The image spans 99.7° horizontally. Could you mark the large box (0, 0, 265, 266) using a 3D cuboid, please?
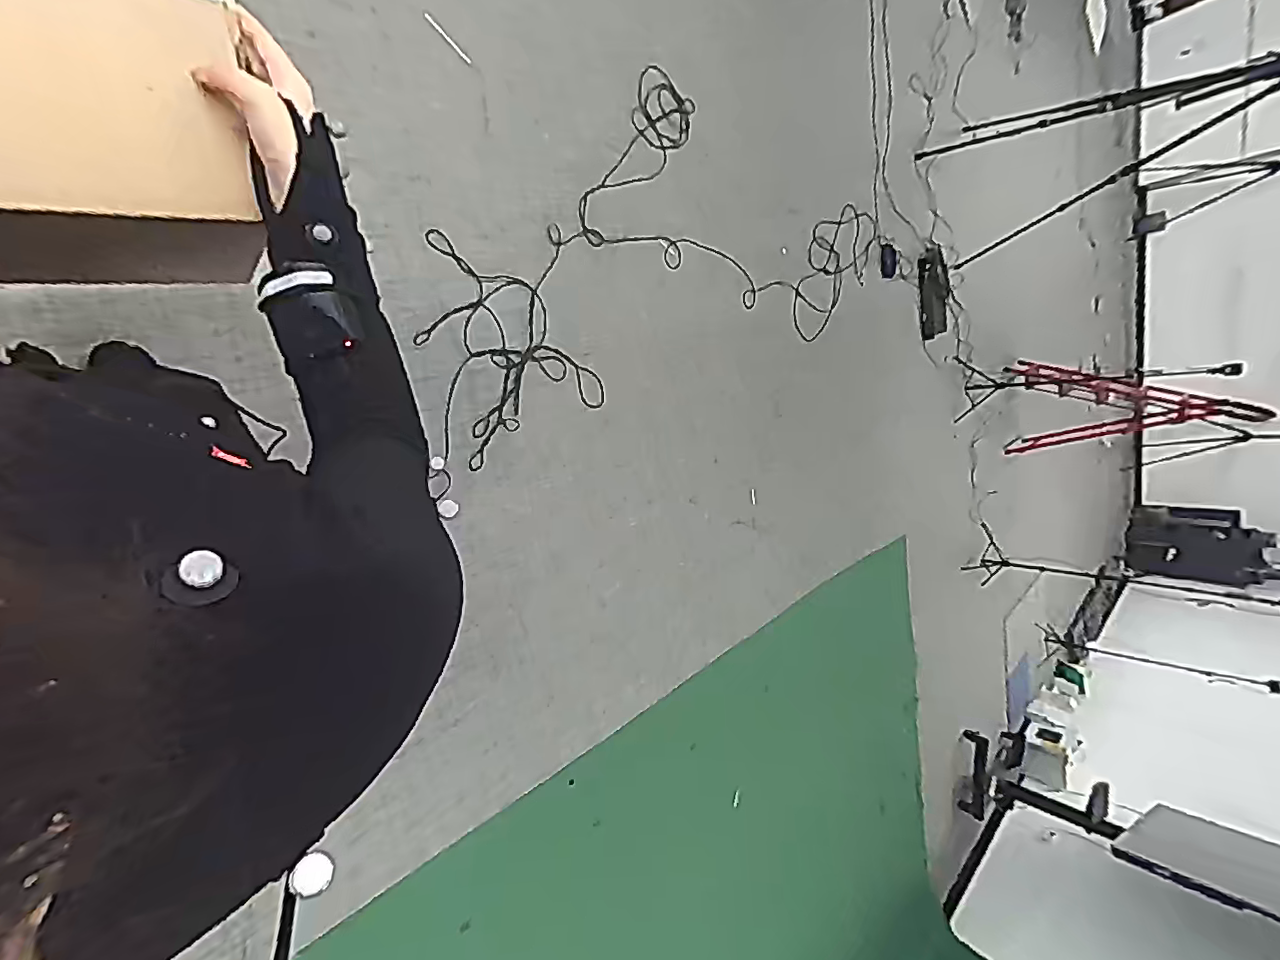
[{"bbox_3d":[-0.560,-0.340,0.398,0.408,0.320,0.320,-16,107,-35],"label":"large box"}]
